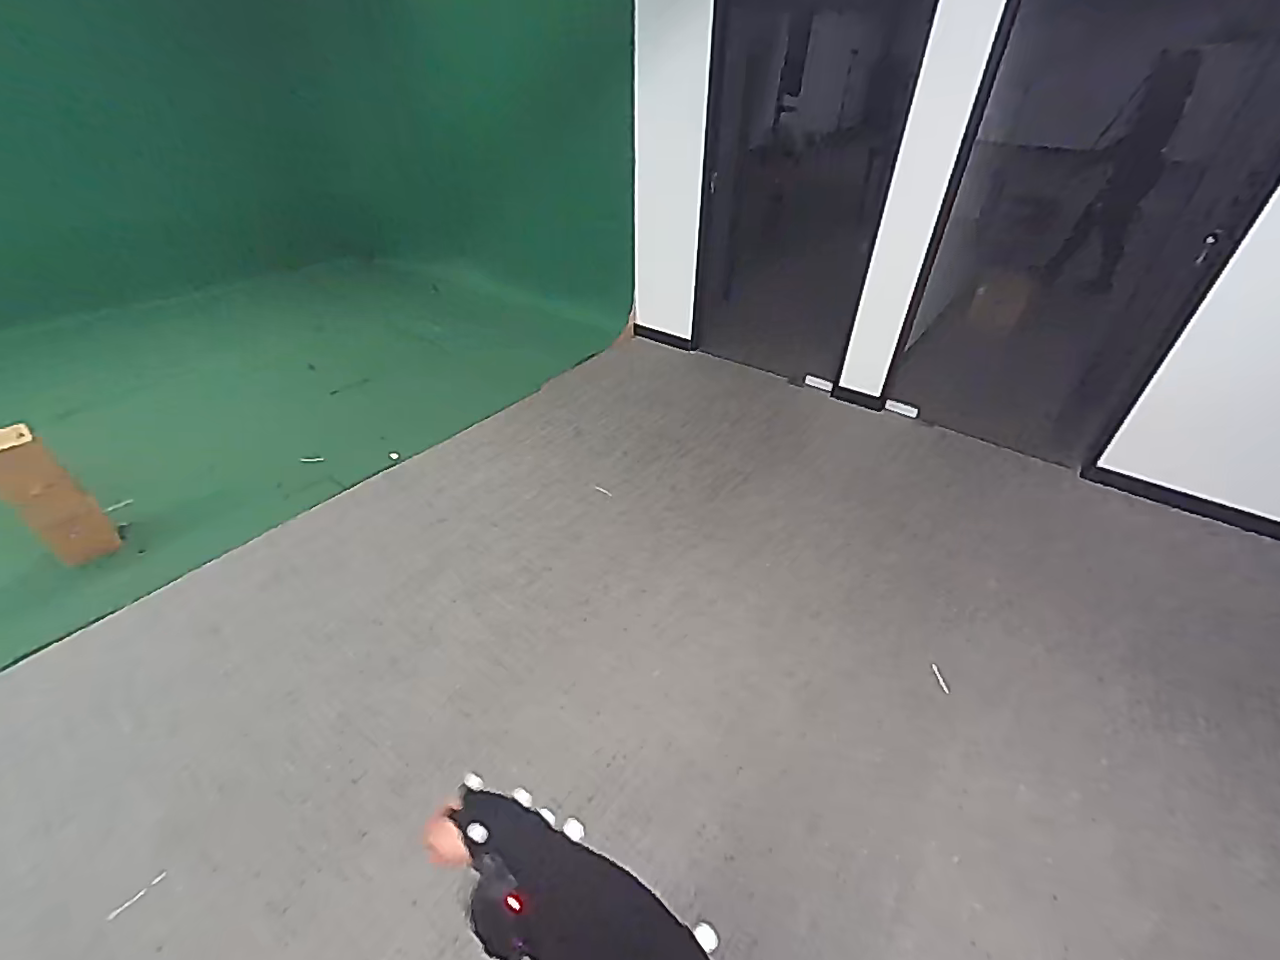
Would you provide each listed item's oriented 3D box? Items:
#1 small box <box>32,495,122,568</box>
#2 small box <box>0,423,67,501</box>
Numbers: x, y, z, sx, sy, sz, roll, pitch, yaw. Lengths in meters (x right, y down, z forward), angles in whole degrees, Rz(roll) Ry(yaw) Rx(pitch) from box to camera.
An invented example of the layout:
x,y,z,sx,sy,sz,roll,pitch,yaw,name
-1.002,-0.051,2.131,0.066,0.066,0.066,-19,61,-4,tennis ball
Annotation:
x,y,z,sx,sy,sz,roll,pitch,yaw,name
-2.096,0.194,2.022,0.168,0.176,0.179,30,47,31,small box
-2.100,-0.059,1.813,0.168,0.176,0.179,28,46,31,small box
